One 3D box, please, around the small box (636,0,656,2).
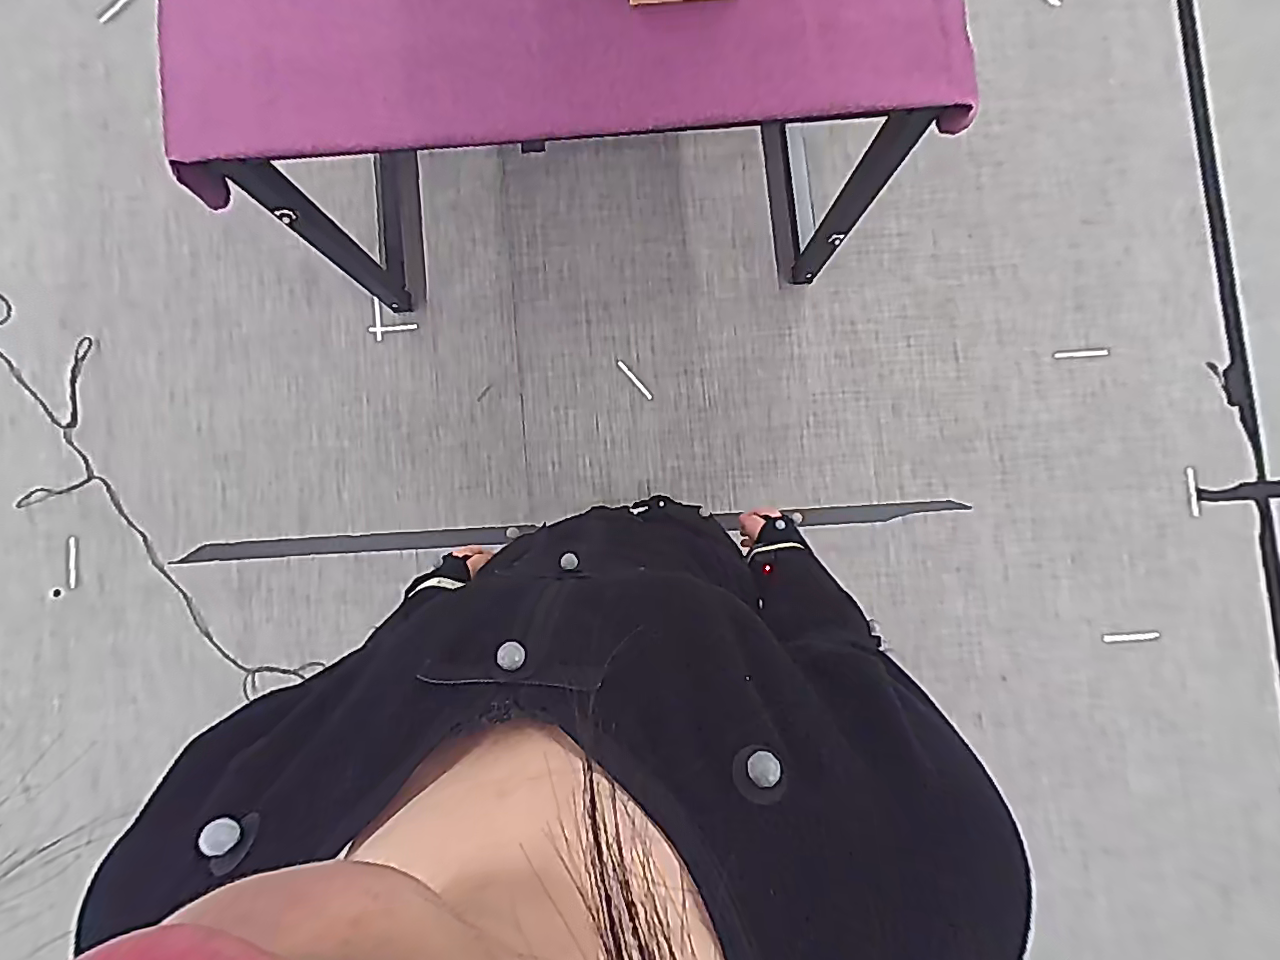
[{"bbox_3d":[0.066,-0.811,0.742,0.179,0.176,0.168,-6,86,0],"label":"small box"}]
